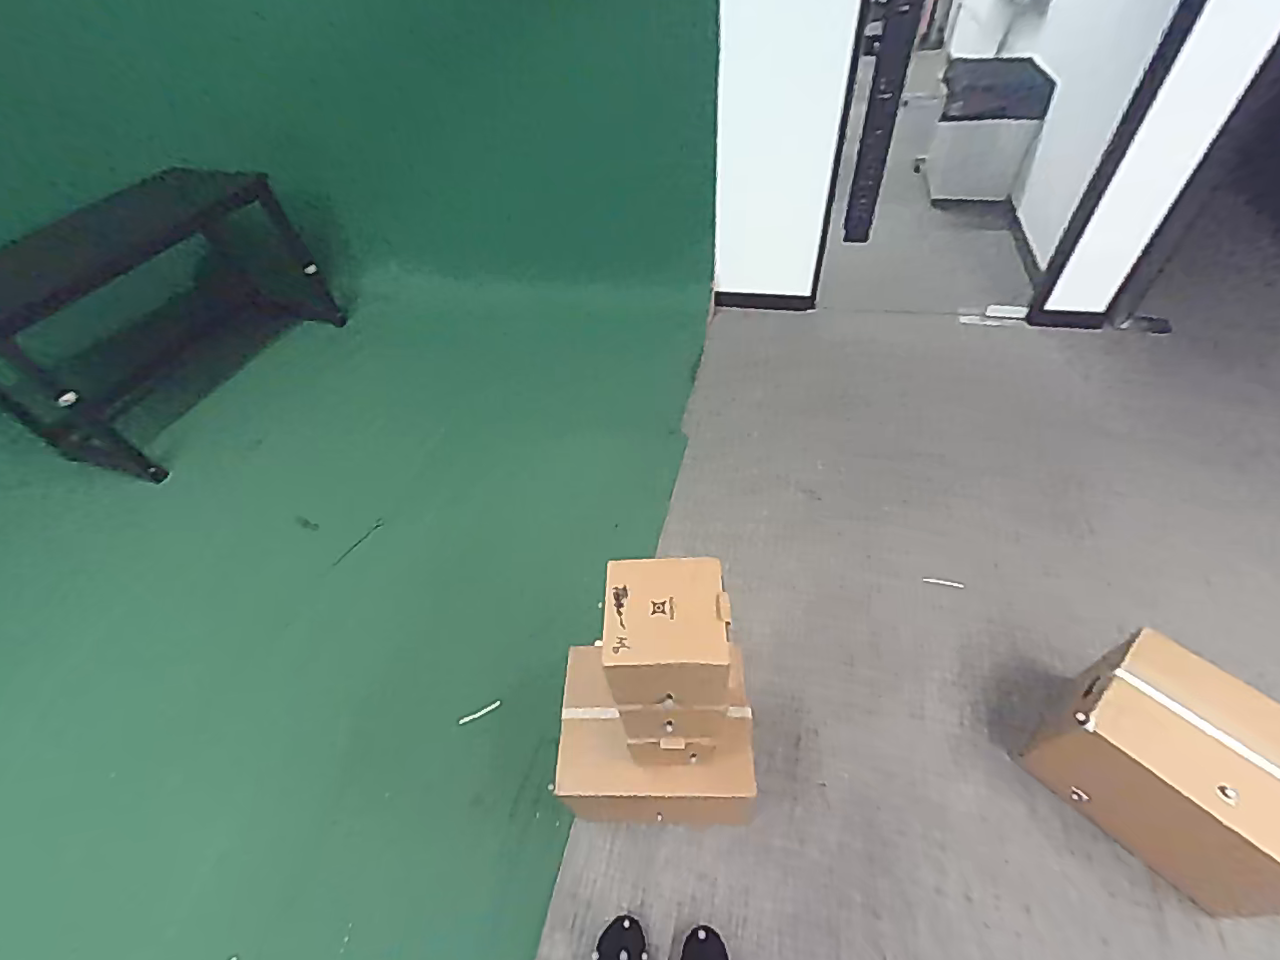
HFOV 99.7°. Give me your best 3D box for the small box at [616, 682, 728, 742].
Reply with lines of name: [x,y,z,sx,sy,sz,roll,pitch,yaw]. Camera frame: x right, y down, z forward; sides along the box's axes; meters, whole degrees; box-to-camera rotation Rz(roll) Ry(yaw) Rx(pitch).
small box: [0.056,0.347,0.946,0.179,0.176,0.168,-3,49,4]

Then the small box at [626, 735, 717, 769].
small box: [0.066,0.457,1.066,0.168,0.176,0.179,-2,48,5]

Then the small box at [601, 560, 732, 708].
small box: [0.040,0.237,0.825,0.179,0.176,0.168,-1,48,3]

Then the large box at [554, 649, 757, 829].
large box: [0.045,0.611,1.260,0.408,0.320,0.320,-3,47,5]
